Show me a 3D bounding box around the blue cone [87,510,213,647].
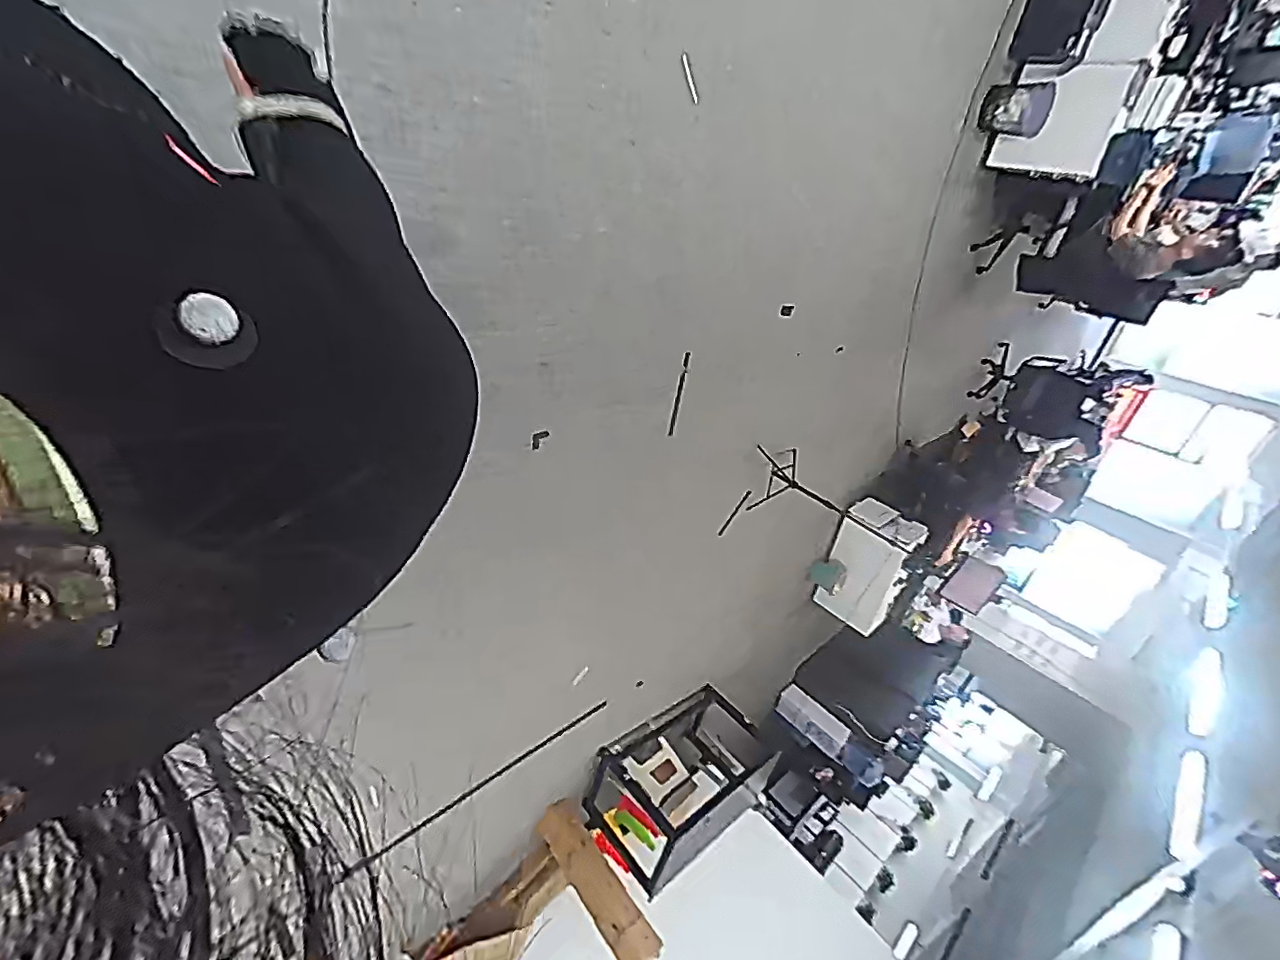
[{"bbox_3d":[-1.042,0.241,1.173,0.192,0.380,0.193,-24,131,-35],"label":"blue cone"}]
